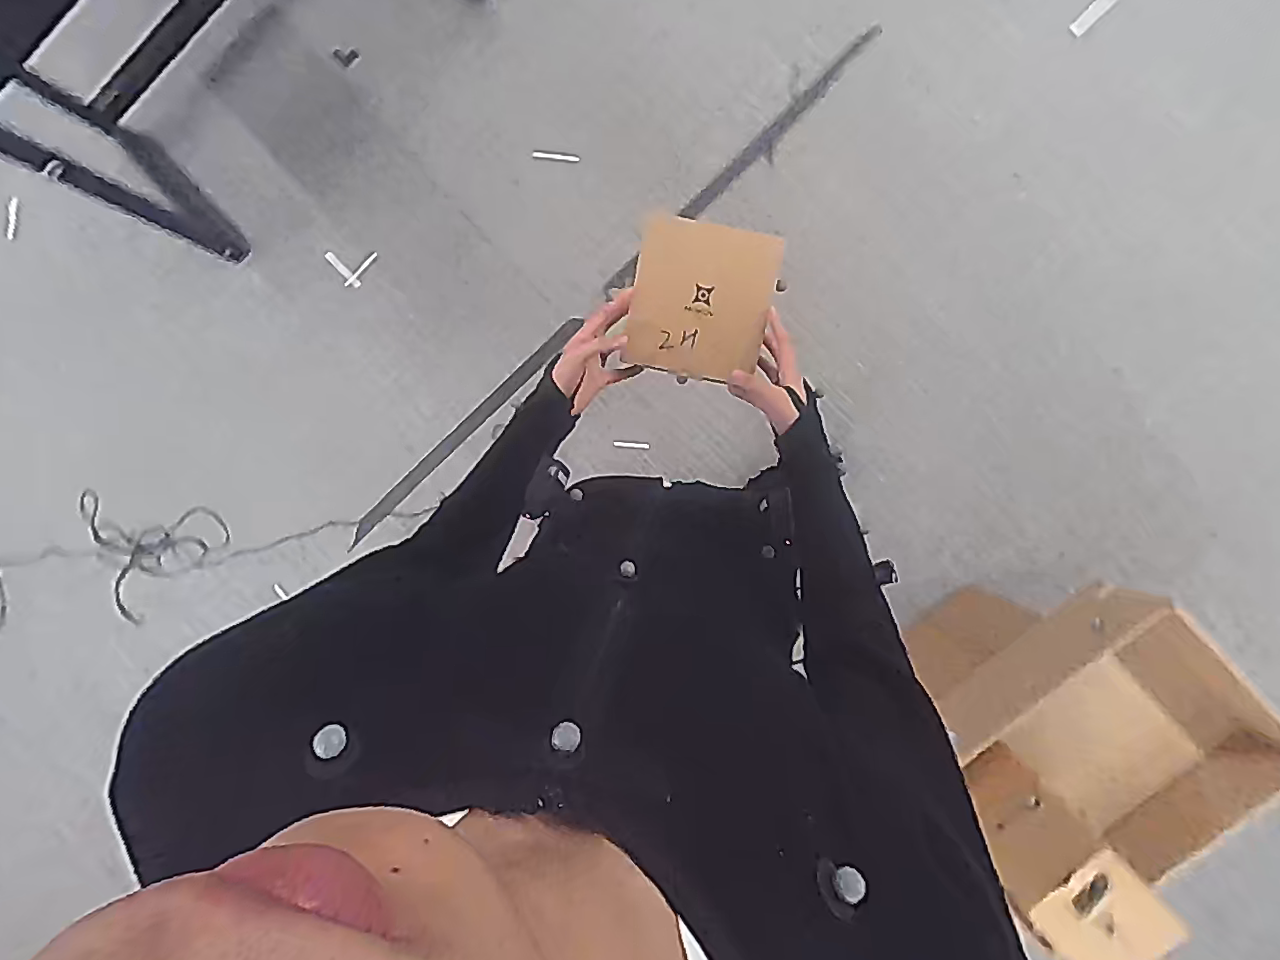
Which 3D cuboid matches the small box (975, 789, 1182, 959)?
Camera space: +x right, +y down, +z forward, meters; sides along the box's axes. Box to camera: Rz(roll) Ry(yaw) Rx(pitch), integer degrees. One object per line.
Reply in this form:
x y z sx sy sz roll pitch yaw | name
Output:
0.724 0.668 0.920 0.168 0.176 0.179 -44 88 6 | small box

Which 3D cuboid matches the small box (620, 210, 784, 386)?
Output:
0.074 -0.232 0.715 0.168 0.176 0.179 11 105 1 | small box
